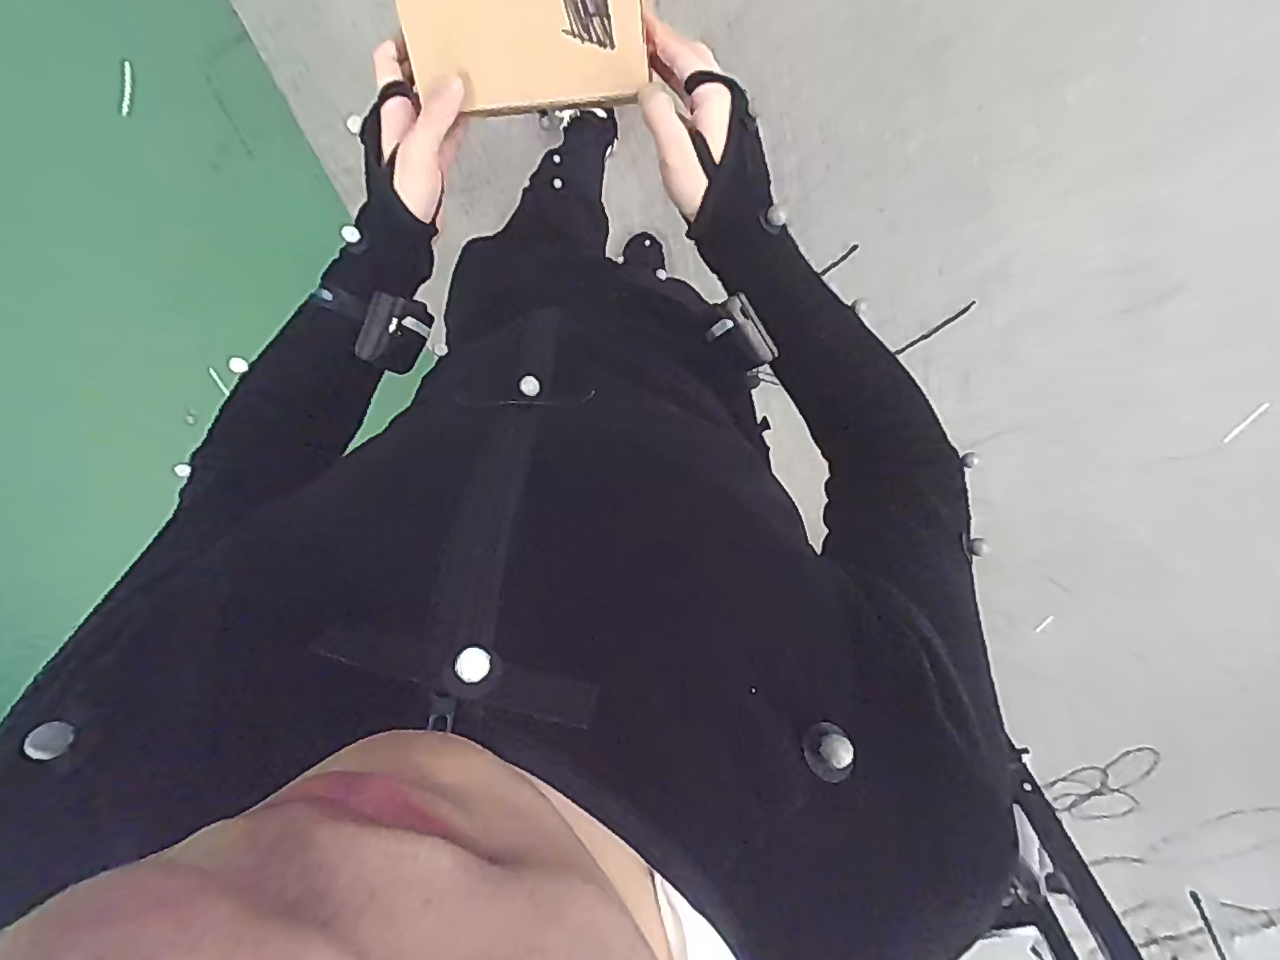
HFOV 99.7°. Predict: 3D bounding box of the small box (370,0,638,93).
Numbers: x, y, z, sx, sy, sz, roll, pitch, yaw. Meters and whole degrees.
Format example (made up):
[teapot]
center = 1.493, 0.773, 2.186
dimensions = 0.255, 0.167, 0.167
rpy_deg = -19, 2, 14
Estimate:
[small box]
center = -0.092, -0.393, 0.404
dimensions = 0.179, 0.176, 0.168
rpy_deg = 0, 125, 4
